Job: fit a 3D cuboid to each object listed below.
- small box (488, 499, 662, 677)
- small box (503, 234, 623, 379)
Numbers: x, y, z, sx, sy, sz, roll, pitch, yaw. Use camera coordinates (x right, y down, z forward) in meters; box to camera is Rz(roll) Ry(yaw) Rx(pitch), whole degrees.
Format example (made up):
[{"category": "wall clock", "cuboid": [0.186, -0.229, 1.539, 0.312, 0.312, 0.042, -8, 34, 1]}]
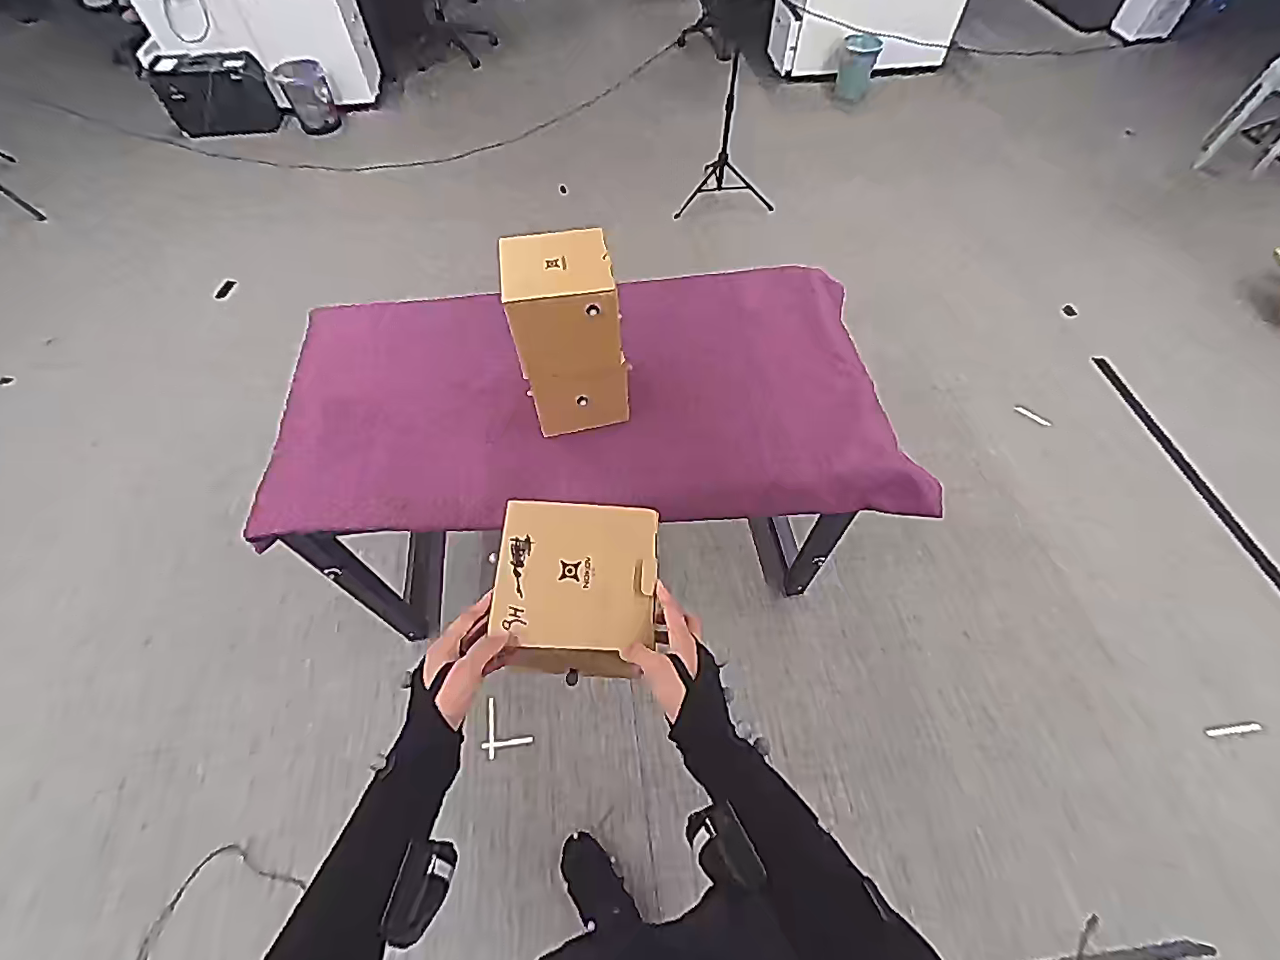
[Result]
[{"category": "small box", "cuboid": [-0.073, 0.139, 0.659, 0.179, 0.176, 0.168, 5, 61, -4]}, {"category": "small box", "cuboid": [-0.128, -0.291, 0.925, 0.179, 0.176, 0.168, -8, 57, -5]}]
